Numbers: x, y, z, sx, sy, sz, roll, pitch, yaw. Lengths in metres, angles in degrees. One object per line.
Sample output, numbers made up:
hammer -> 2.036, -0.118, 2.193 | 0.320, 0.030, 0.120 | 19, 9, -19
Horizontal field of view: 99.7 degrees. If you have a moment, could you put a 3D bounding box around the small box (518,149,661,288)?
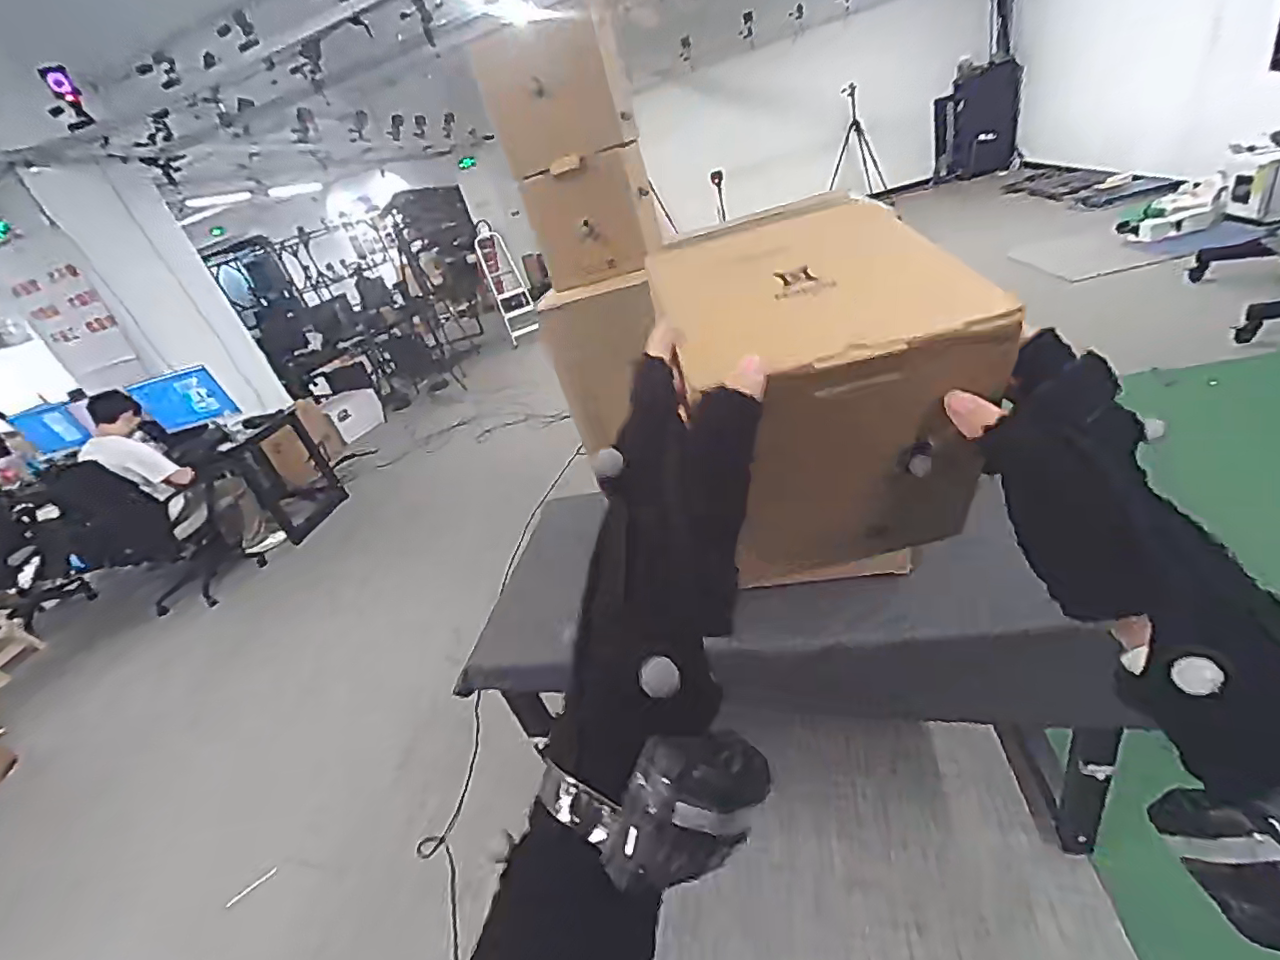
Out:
small box -> -0.070, -0.426, 0.878 | 0.168, 0.176, 0.179 | -8, 33, 15

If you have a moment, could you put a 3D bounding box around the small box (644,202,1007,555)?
small box -> 0.105, -0.065, 0.379 | 0.168, 0.176, 0.179 | -12, 42, 1

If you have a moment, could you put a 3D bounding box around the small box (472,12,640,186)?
small box -> -0.108, -0.545, 0.797 | 0.179, 0.176, 0.168 | -9, 31, 15
